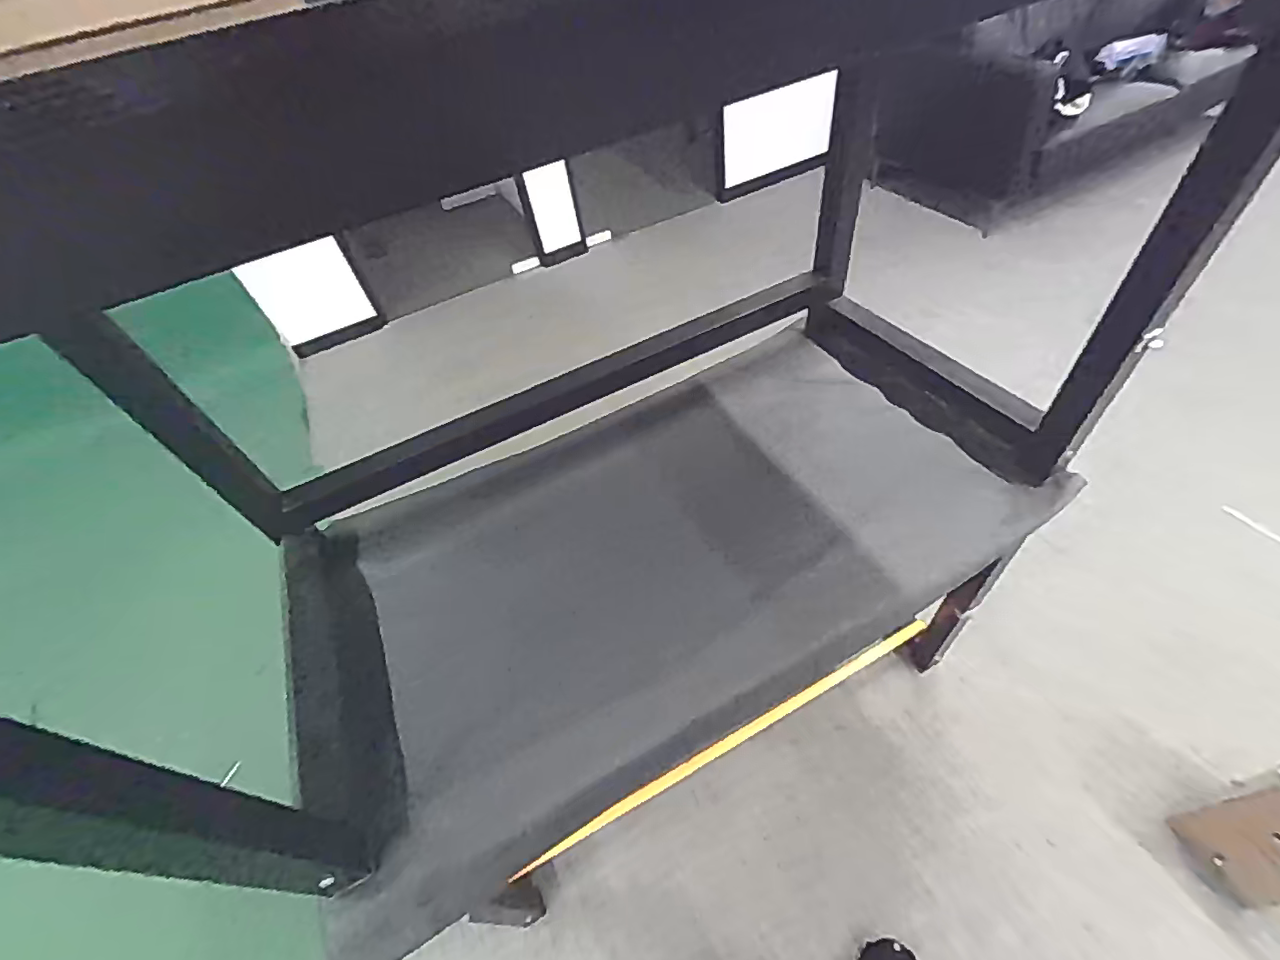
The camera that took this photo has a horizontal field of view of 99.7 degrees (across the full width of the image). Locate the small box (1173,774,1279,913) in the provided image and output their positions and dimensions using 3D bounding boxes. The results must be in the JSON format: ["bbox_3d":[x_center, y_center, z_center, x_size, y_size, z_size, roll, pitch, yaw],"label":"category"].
[{"bbox_3d":[1.207,0.698,1.041,0.179,0.176,0.168,-21,48,-7],"label":"small box"}]
